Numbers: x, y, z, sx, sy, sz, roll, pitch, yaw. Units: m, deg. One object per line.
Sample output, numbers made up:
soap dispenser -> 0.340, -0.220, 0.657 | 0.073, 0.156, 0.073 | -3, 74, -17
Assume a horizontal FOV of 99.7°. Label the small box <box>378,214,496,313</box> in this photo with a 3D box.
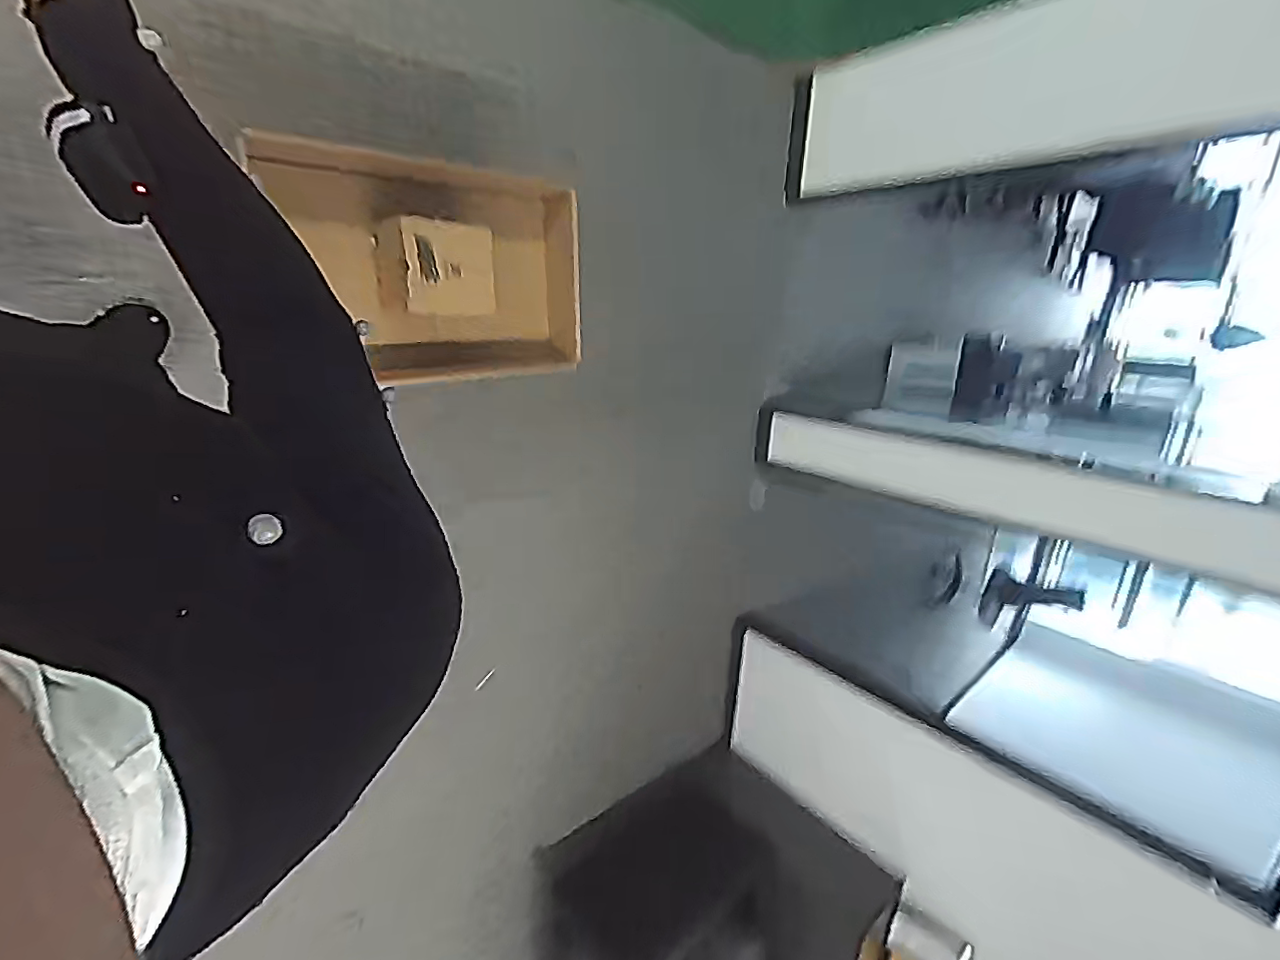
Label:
small box -> -0.409, -0.423, 1.083 | 0.179, 0.176, 0.168 | -14, 114, -41
